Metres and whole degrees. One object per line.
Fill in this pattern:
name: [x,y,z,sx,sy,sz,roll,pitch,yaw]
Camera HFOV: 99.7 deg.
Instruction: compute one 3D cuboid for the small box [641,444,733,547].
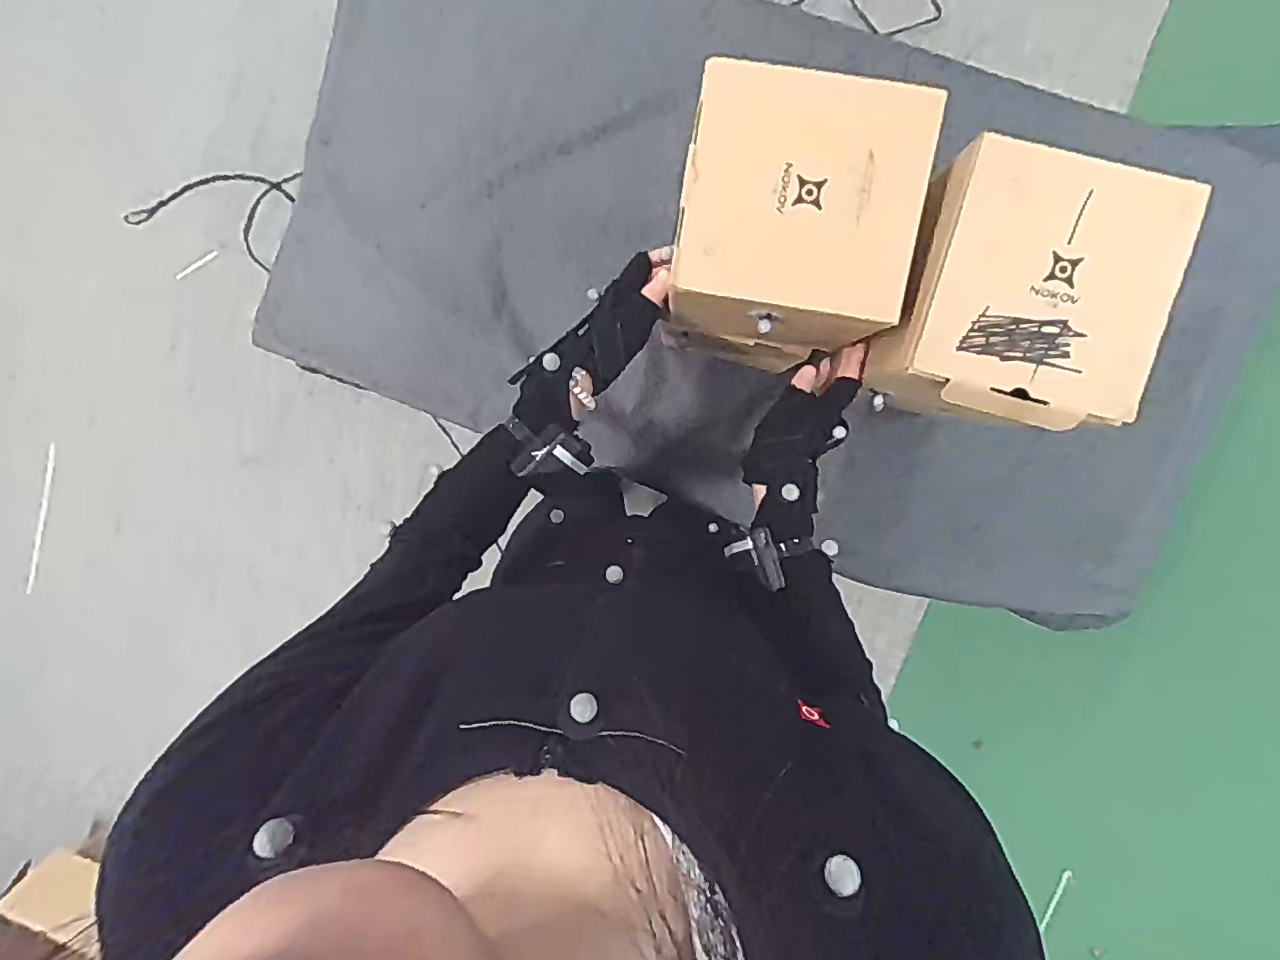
small box: [0.118,0.044,1.414,0.179,0.176,0.168,-32,62,-16]
